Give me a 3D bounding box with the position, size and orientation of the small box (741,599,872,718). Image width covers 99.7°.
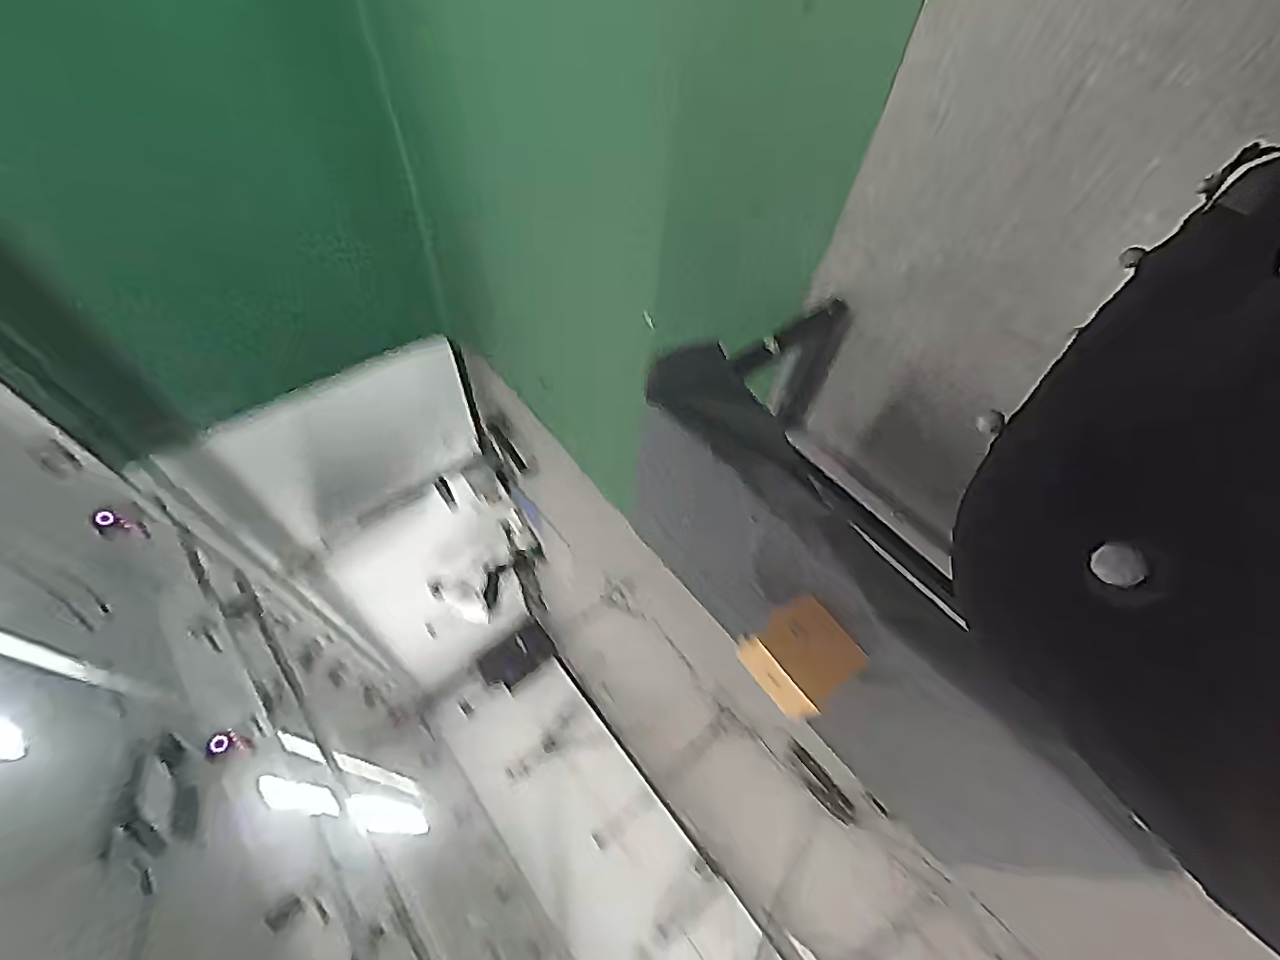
[{"bbox_3d":[0.356,0.381,1.173,0.179,0.176,0.168,48,156,17],"label":"small box"}]
